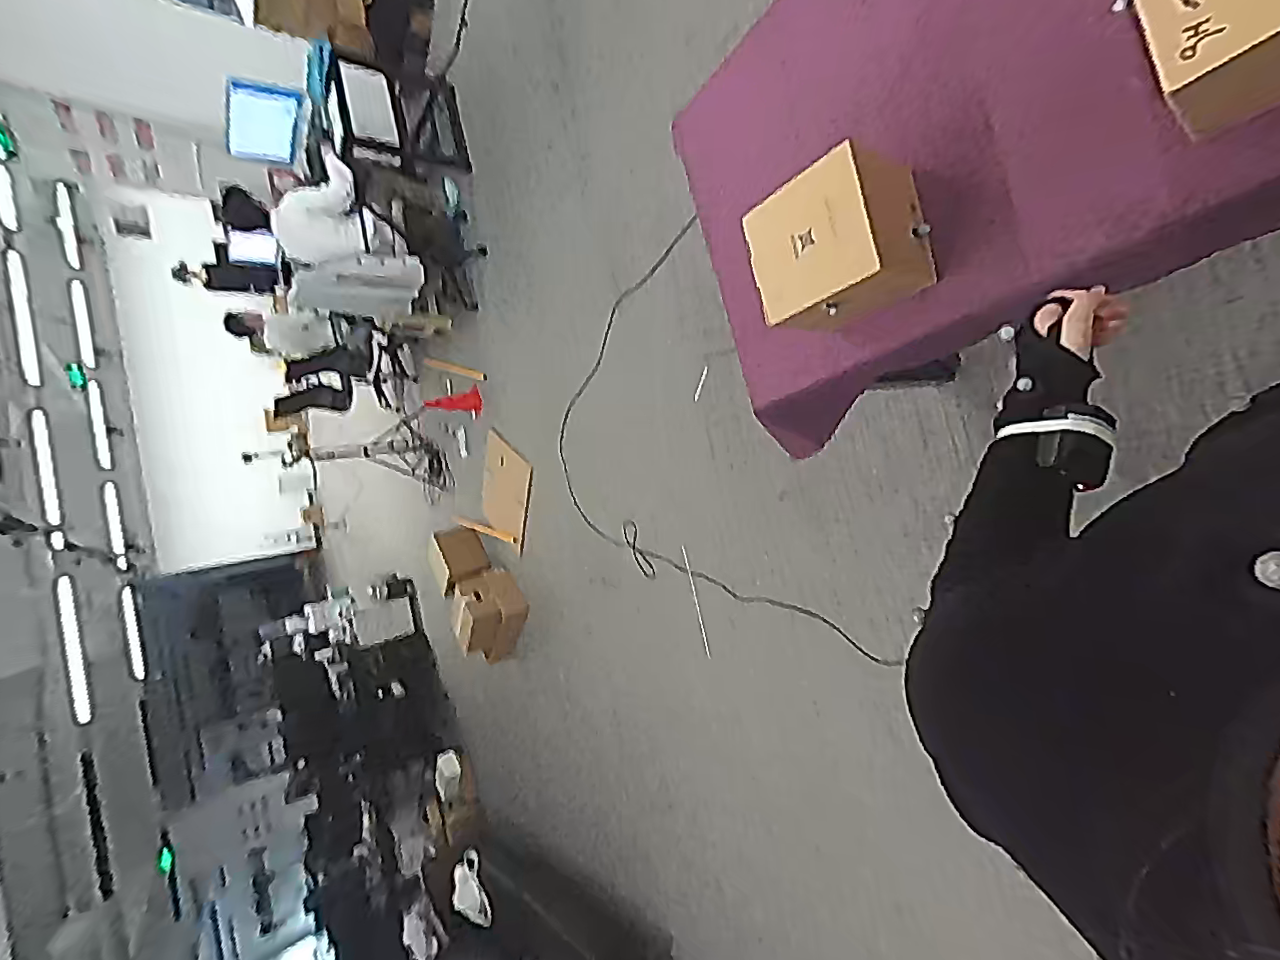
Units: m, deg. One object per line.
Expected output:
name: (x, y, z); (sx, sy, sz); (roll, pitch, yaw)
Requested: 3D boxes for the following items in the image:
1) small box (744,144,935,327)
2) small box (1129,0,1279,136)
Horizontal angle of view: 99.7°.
small box: (0.280, -0.325, 0.765); (0.179, 0.176, 0.168); (-16, 86, 51)
small box: (0.524, -0.426, 0.436); (0.179, 0.176, 0.168); (-19, 83, 51)
